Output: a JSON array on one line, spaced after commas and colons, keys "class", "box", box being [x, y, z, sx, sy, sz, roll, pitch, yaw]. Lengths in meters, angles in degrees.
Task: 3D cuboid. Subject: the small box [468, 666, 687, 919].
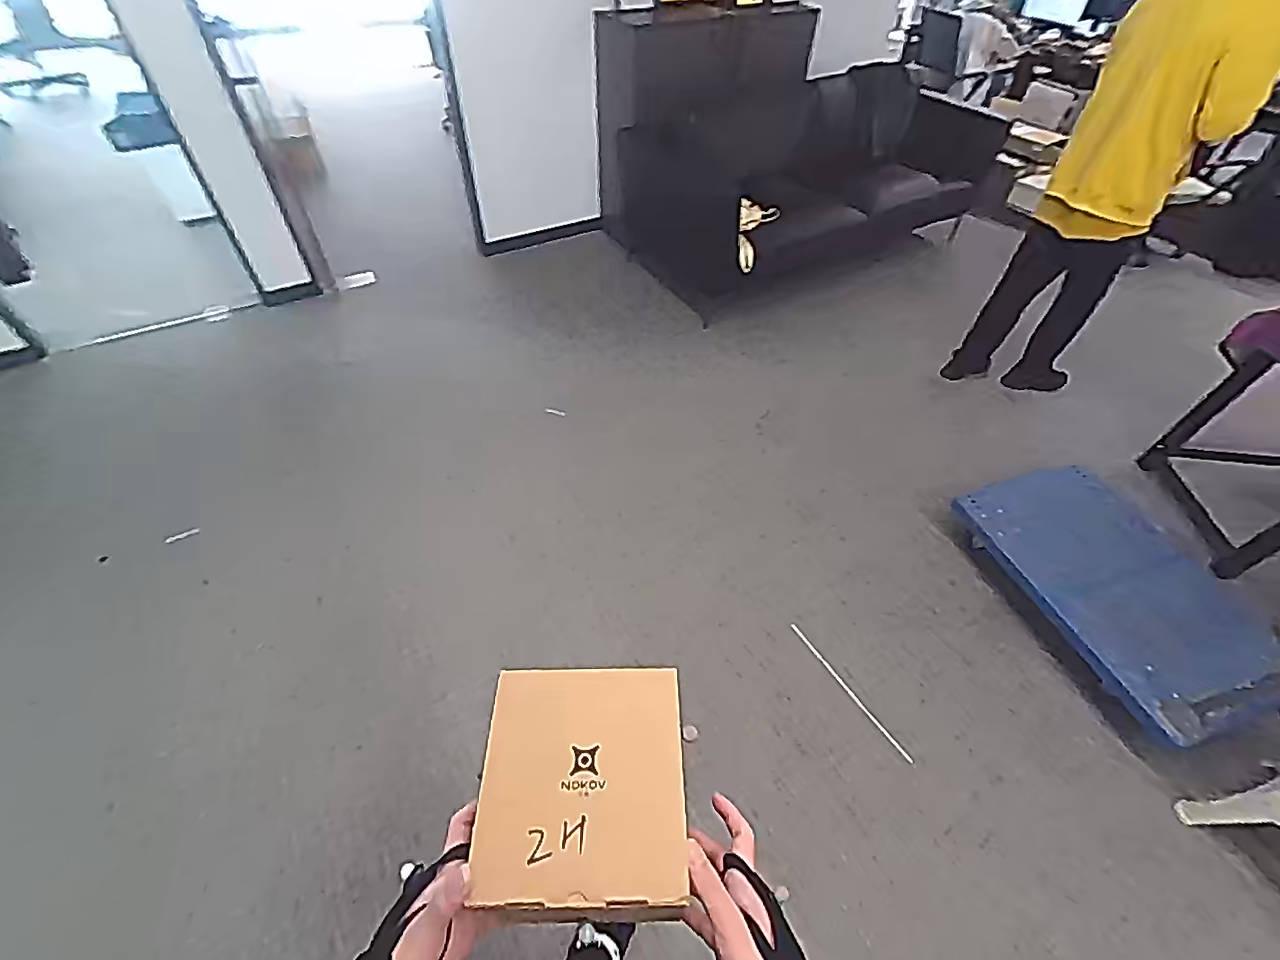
[{"class": "small box", "box": [-0.045, 0.295, 0.512, 0.168, 0.176, 0.179, 0, 48, 1]}]
